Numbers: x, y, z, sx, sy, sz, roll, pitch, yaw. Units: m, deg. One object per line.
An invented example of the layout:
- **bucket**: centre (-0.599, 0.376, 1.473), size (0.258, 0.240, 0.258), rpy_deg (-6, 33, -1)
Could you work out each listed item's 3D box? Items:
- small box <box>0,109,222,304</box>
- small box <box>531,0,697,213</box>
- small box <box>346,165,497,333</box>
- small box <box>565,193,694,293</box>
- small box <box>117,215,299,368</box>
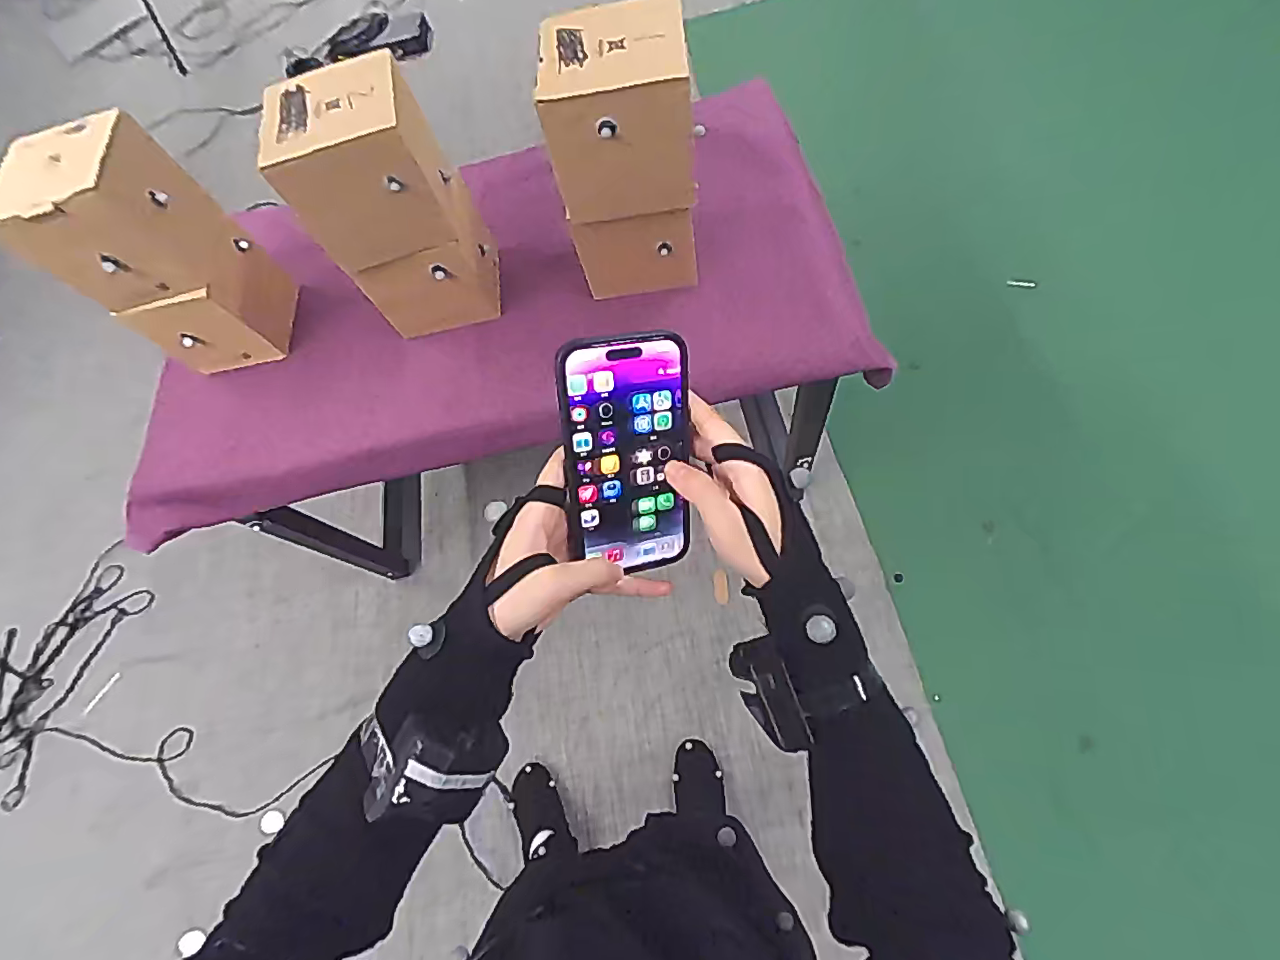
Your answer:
- **small box**: centre (-0.756, -0.382, 0.787), size (0.168, 0.176, 0.179), rpy_deg (-15, 66, 3)
- **small box**: centre (-0.025, -0.471, 0.692), size (0.179, 0.176, 0.168), rpy_deg (-6, 66, 7)
- **small box**: centre (-0.343, -0.368, 0.884), size (0.179, 0.176, 0.168), rpy_deg (-11, 66, 6)
- **small box**: centre (-0.008, -0.420, 0.847), size (0.179, 0.176, 0.168), rpy_deg (-6, 66, 9)
- **small box**: centre (-0.727, -0.311, 0.932), size (0.168, 0.176, 0.179), rpy_deg (-11, 66, 6)
